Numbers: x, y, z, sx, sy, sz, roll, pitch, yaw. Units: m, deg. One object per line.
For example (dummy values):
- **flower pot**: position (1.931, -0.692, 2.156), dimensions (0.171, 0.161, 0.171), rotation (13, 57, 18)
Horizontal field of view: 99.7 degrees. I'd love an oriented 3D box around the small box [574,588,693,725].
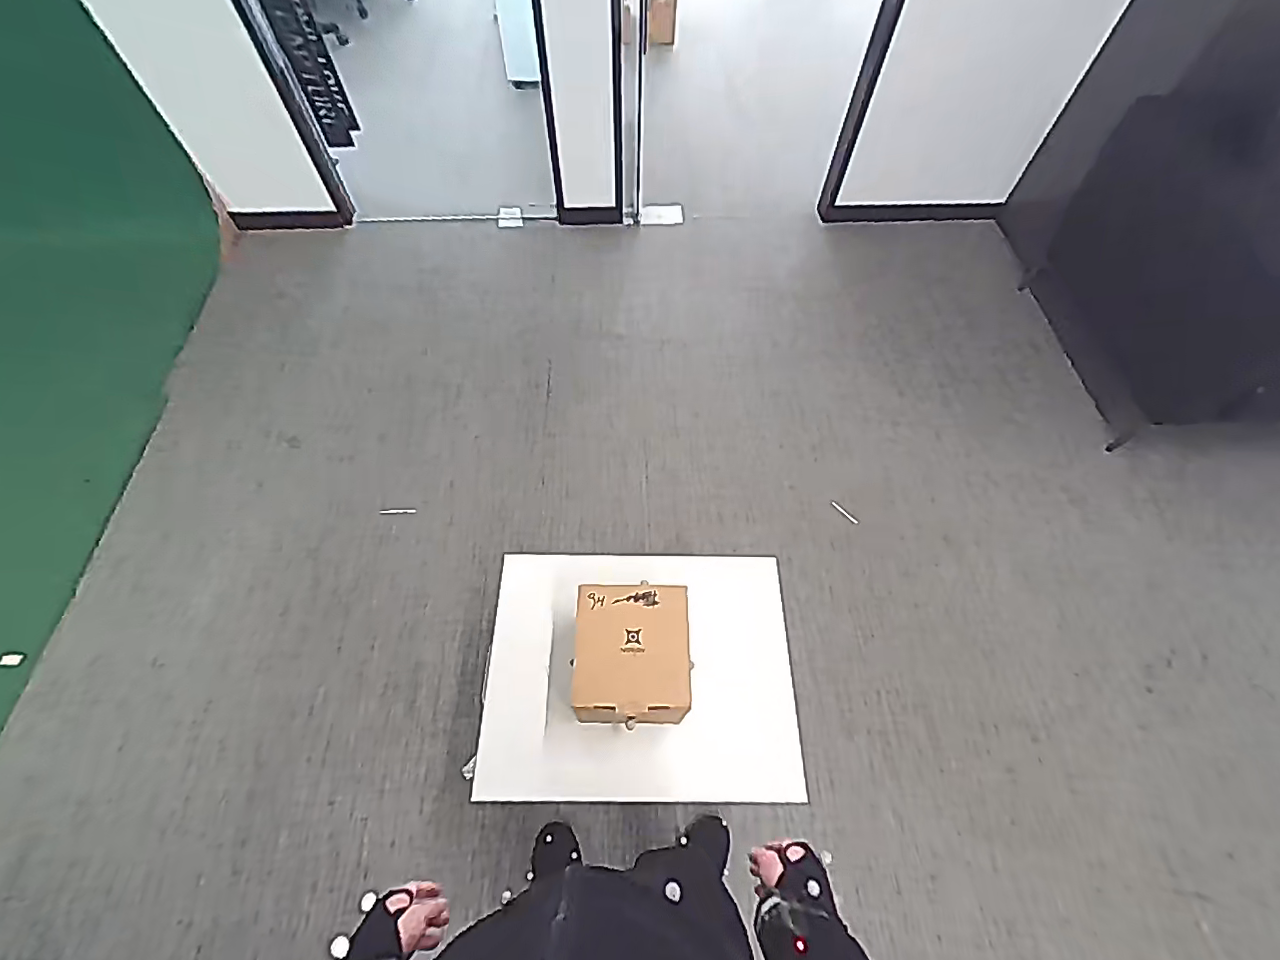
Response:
- **small box**: position (-0.010, 0.280, 0.841), dimensions (0.168, 0.176, 0.179), rotation (-1, 59, -1)
